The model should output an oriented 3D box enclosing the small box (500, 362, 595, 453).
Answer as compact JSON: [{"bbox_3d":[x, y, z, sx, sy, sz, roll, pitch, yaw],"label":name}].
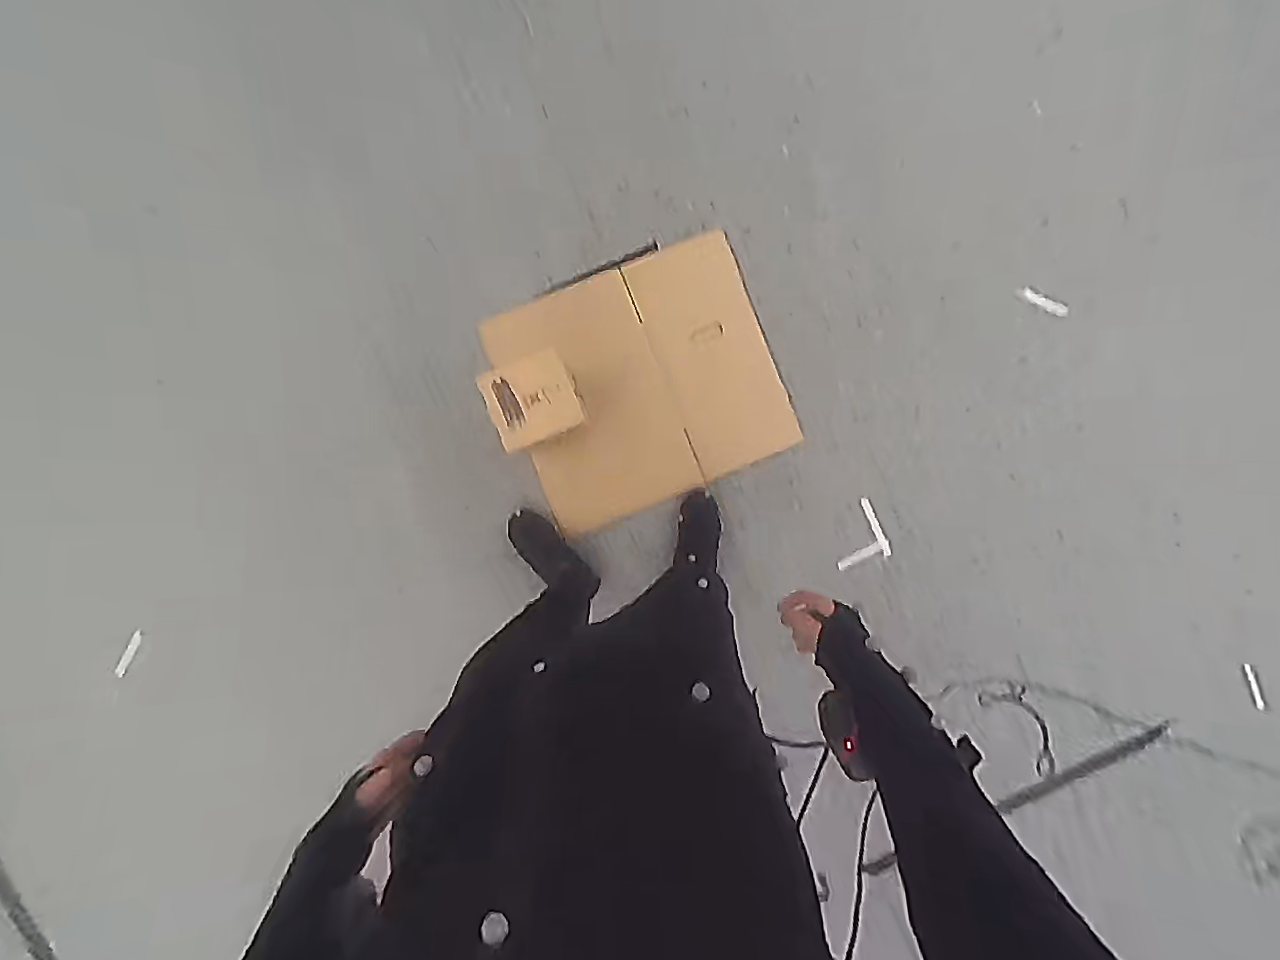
[{"bbox_3d":[-0.221,-0.174,1.331,0.179,0.176,0.168,-23,94,-2],"label":"small box"}]
